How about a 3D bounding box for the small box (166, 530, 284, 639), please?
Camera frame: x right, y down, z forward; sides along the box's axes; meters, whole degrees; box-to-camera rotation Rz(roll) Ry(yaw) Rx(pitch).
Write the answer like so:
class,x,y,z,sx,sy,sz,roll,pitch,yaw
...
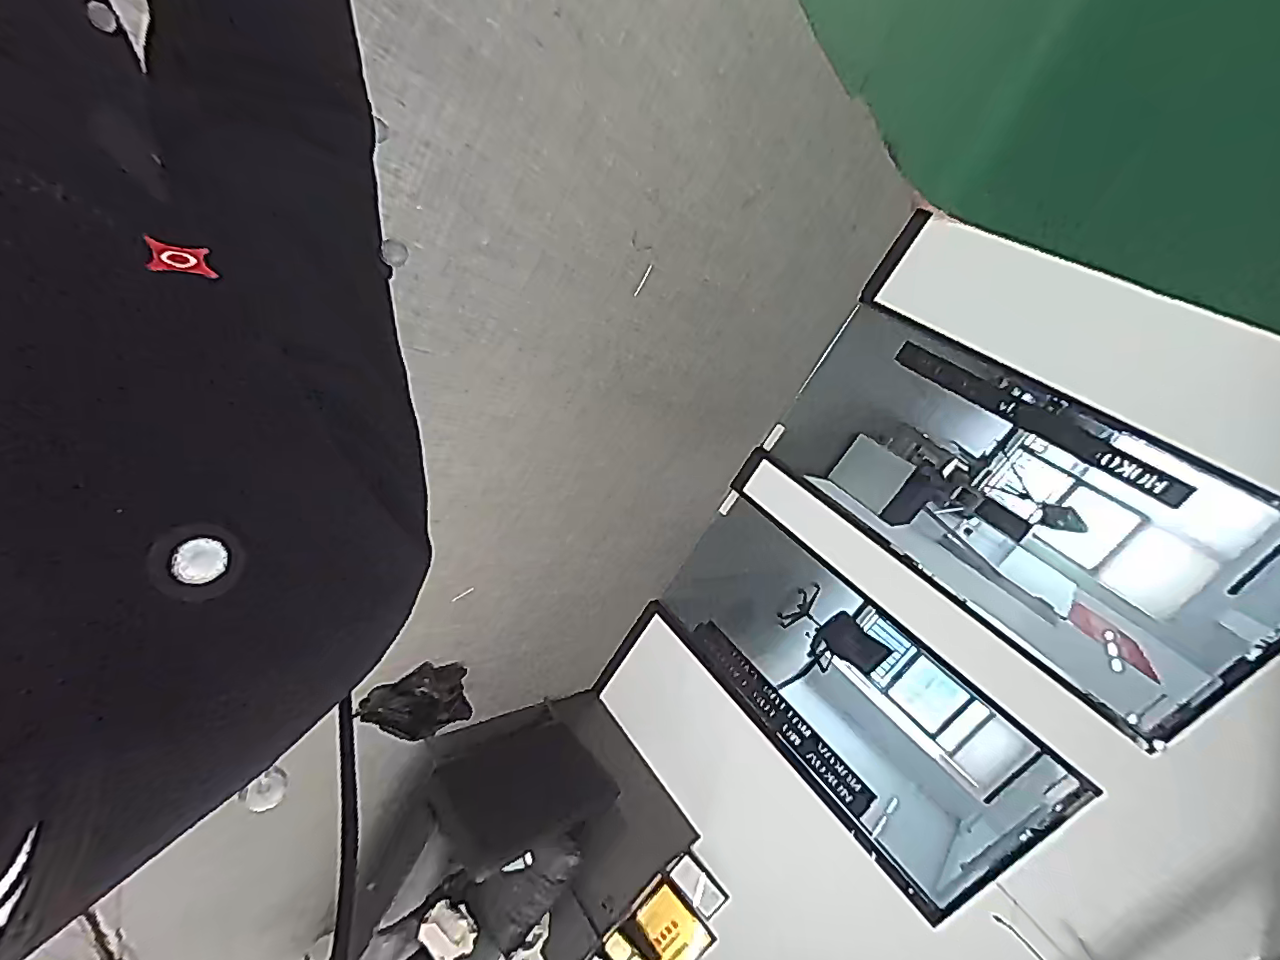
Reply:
class,x,y,z,sx,sy,sz,roll,pitch,yaw
small box,-0.960,0.238,1.246,0.168,0.176,0.179,12,116,-54
